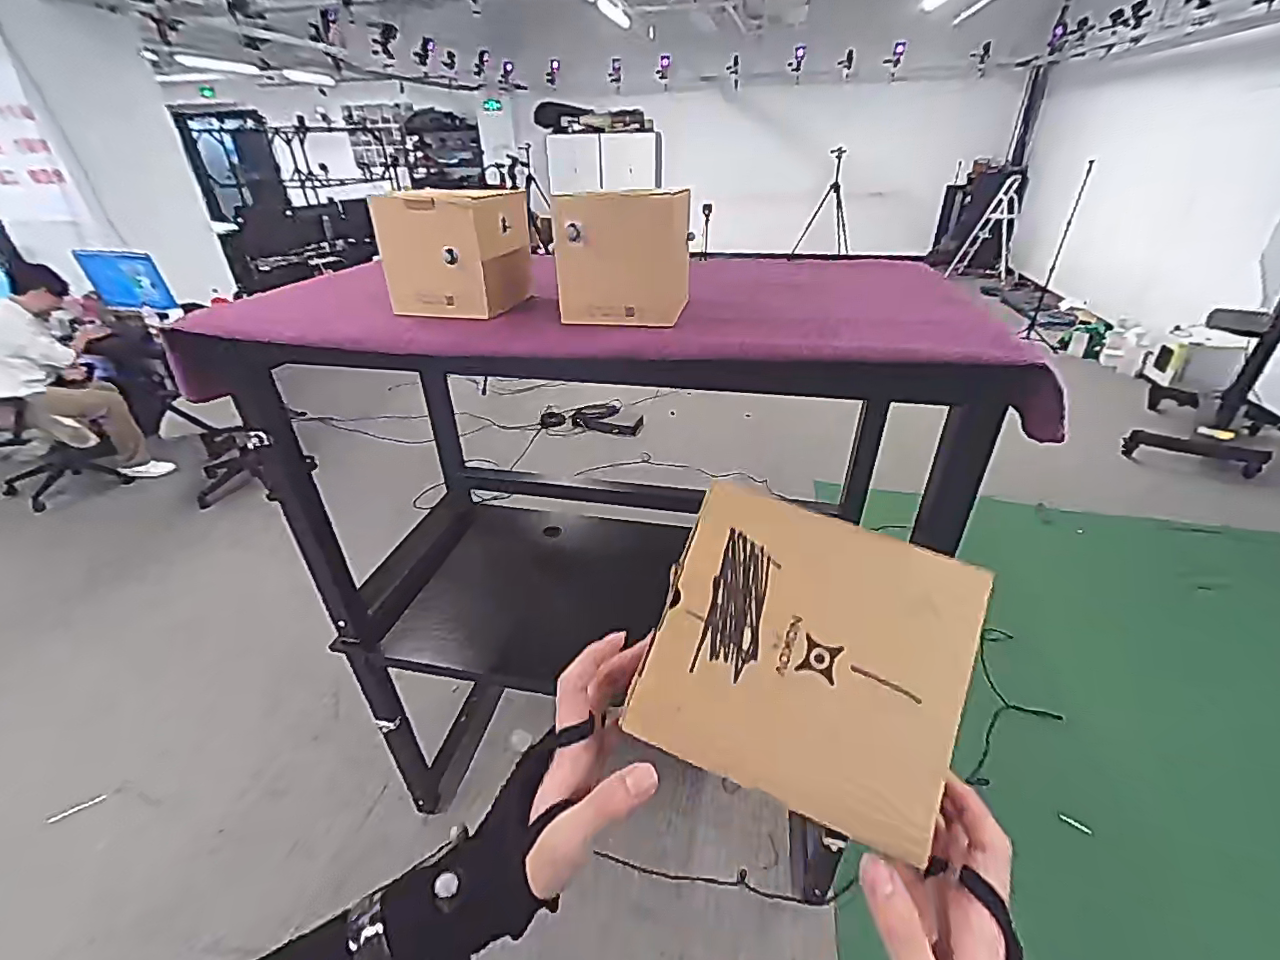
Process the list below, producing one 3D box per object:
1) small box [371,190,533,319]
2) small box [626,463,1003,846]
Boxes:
[{"bbox_3d":[-0.279,-0.358,0.851,0.168,0.176,0.179,7,31,12],"label":"small box"},{"bbox_3d":[0.110,0.112,0.387,0.179,0.176,0.168,20,77,12],"label":"small box"}]
